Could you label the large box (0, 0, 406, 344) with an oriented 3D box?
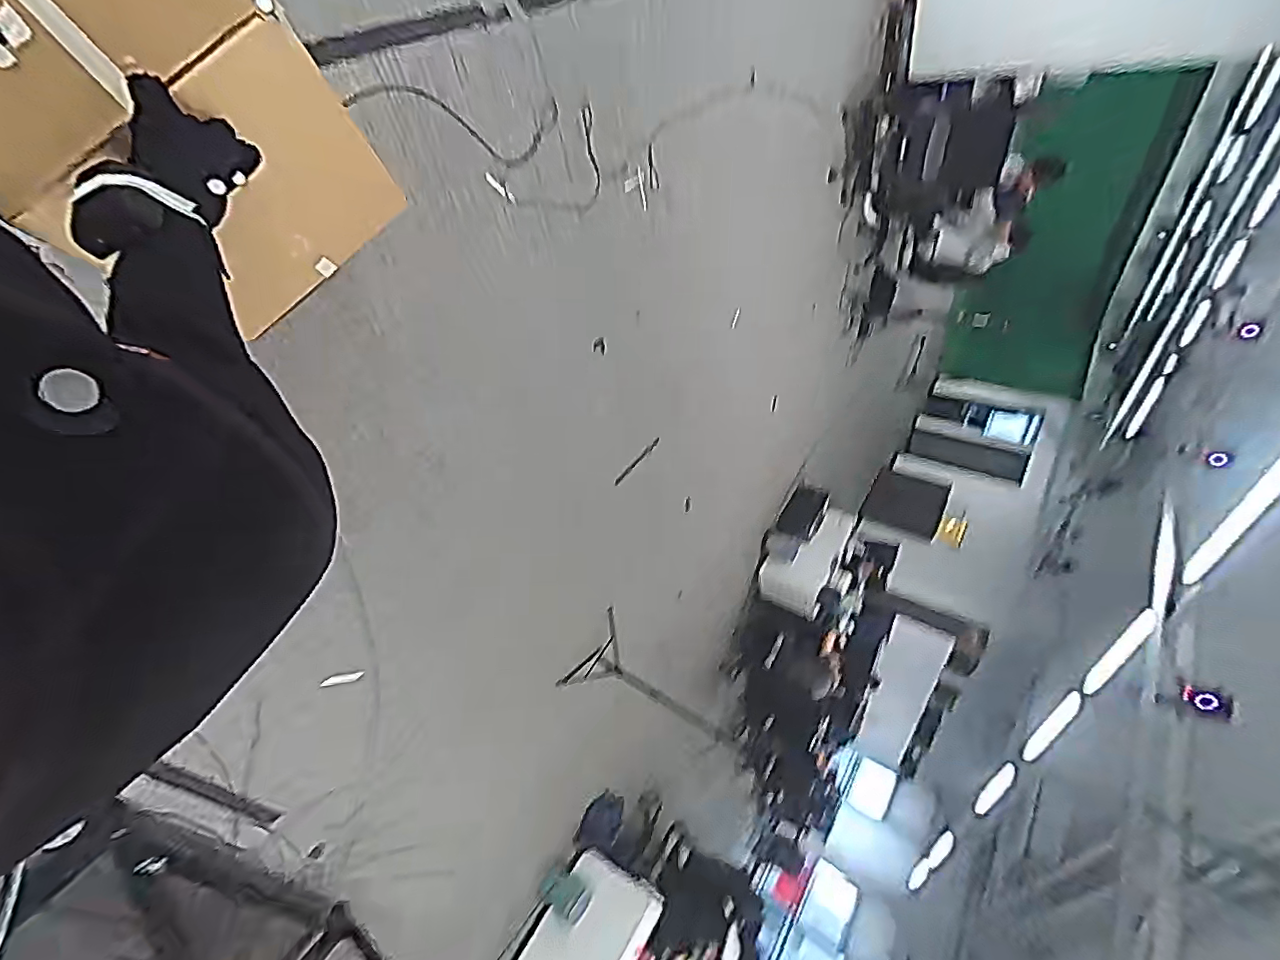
[{"bbox_3d":[-0.587,-0.452,0.664,0.320,0.408,0.320,-44,178,-5],"label":"large box"}]
